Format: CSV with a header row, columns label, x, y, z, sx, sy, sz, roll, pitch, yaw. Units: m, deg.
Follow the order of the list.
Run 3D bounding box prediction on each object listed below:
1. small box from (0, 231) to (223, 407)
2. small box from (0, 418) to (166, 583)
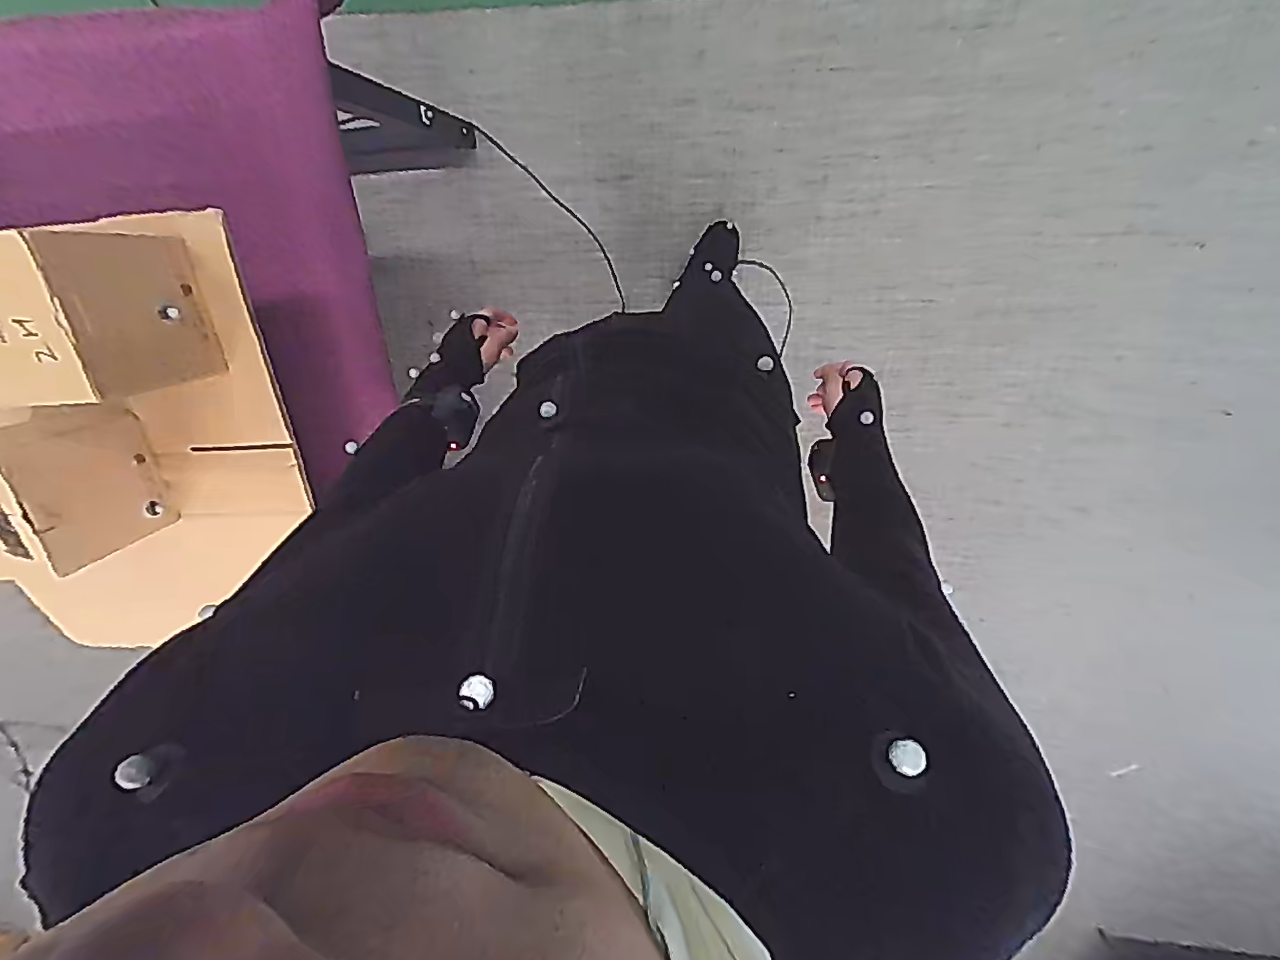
label,x,y,z,sx,sy,sz,roll,pitch,yaw
small box,-0.635,-0.181,0.609,0.179,0.176,0.168,-1,112,7
small box,-0.779,0.020,0.706,0.179,0.176,0.168,-2,111,8
